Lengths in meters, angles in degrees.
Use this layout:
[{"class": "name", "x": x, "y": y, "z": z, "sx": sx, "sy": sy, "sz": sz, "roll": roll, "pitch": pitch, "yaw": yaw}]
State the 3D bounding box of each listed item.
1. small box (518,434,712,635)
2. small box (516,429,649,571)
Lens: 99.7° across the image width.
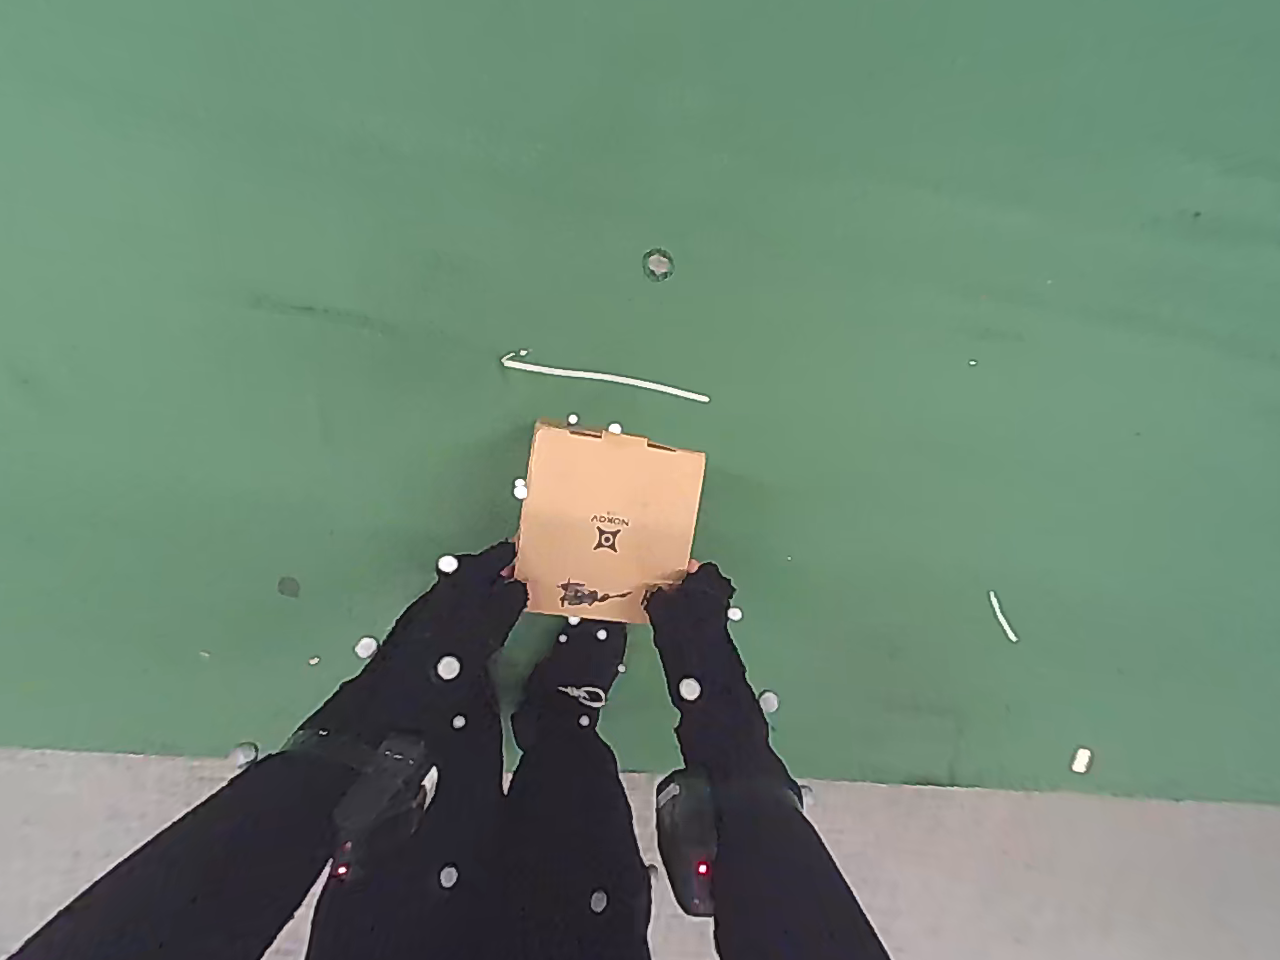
[{"class": "small box", "x": -0.036, "y": 0.049, "z": 0.591, "sx": 0.168, "sy": 0.176, "sz": 0.179, "roll": 9, "pitch": 93, "yaw": -10}, {"class": "small box", "x": -0.064, "y": 0.031, "z": 0.736, "sx": 0.168, "sy": 0.176, "sz": 0.179, "roll": 11, "pitch": 97, "yaw": -8}]
